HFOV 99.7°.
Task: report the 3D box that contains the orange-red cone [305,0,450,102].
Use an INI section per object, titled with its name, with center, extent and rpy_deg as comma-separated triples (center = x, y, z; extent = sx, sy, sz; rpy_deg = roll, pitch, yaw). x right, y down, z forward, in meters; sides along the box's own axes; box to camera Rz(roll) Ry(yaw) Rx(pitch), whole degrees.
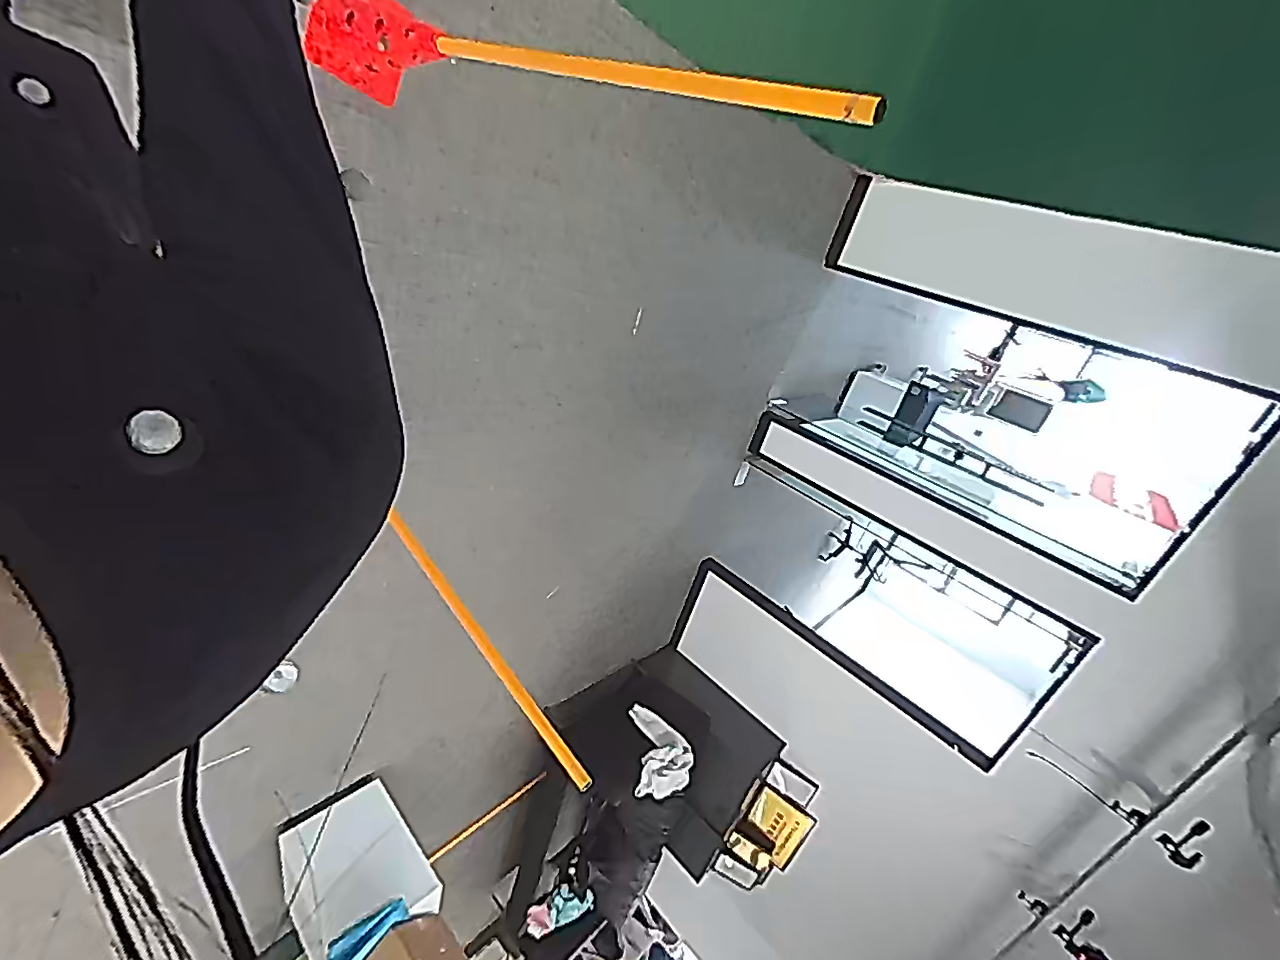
[orange-red cone]
center = -0.482, -0.884, 1.078
extent = 0.198, 0.360, 0.199
rpy_deg = 5, 116, -54
